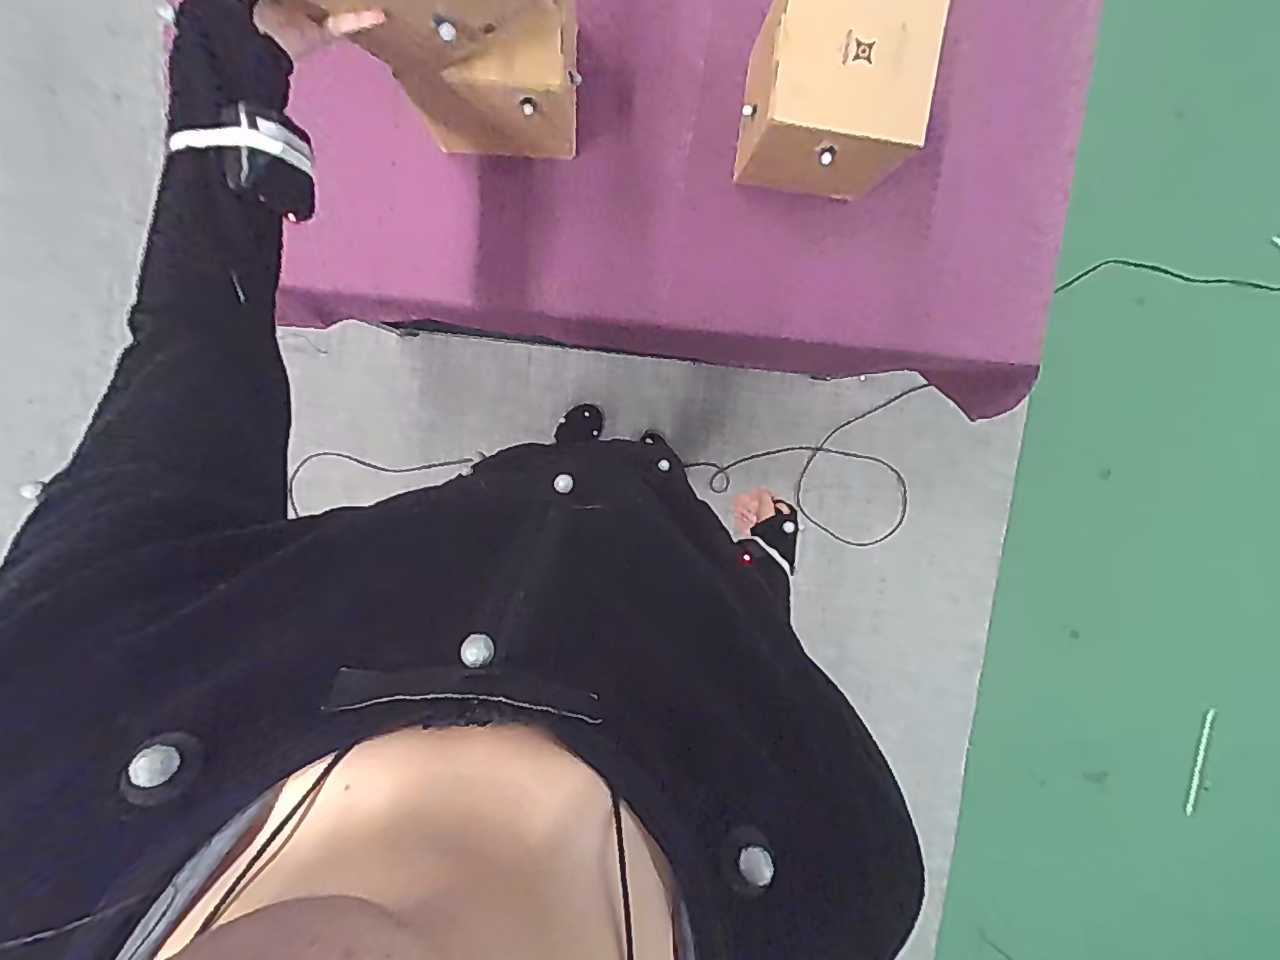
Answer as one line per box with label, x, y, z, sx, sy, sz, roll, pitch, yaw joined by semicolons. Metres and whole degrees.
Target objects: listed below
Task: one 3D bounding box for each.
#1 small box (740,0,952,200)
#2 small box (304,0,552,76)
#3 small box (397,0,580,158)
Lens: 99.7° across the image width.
small box;0.231;-0.462;0.652;0.179;0.176;0.168;7;98;-5
small box;-0.193;-0.475;0.429;0.168;0.176;0.179;-9;105;20
small box;-0.163;-0.499;0.626;0.179;0.176;0.168;1;97;-4
